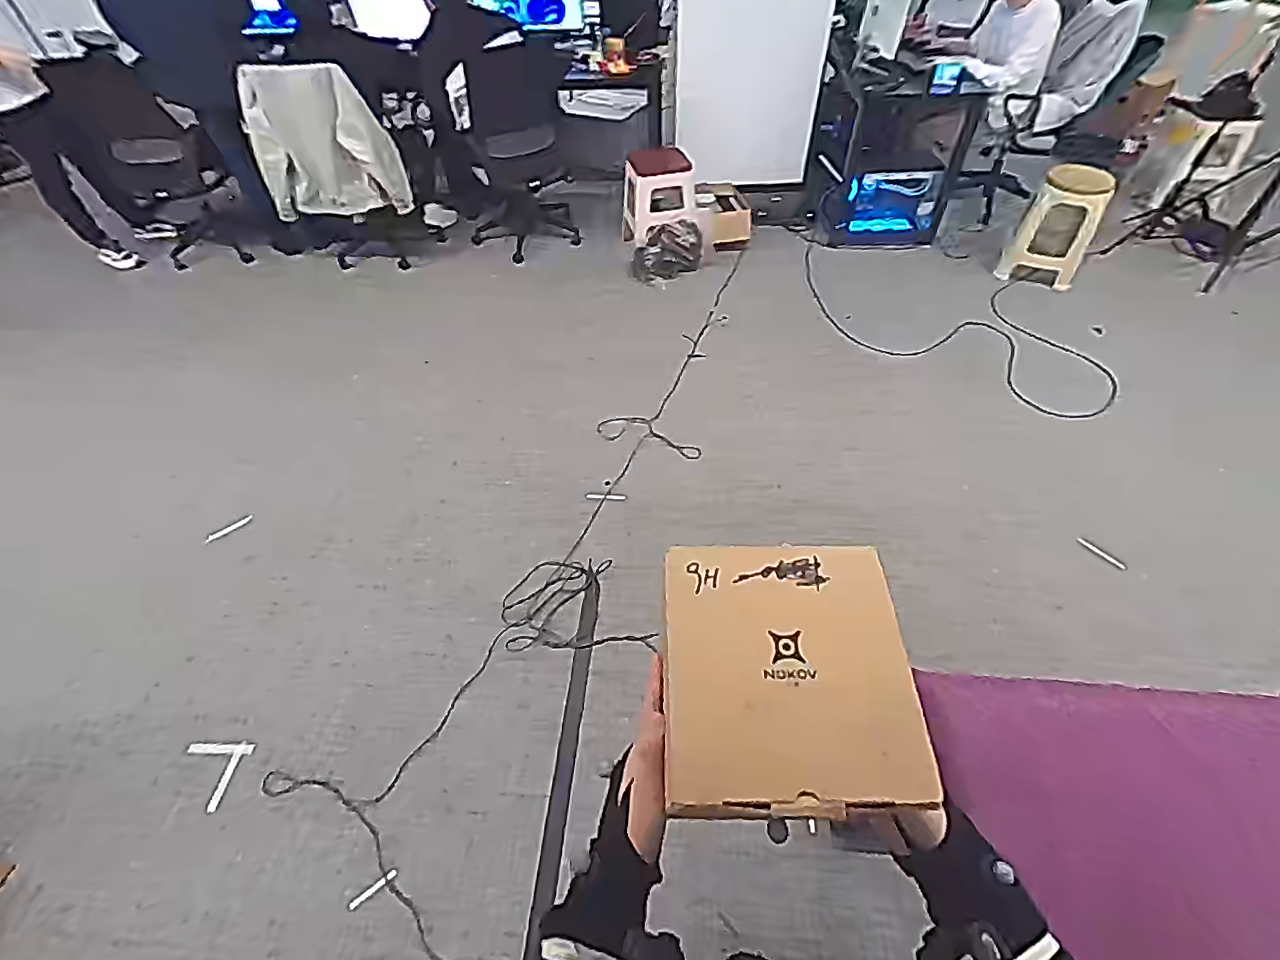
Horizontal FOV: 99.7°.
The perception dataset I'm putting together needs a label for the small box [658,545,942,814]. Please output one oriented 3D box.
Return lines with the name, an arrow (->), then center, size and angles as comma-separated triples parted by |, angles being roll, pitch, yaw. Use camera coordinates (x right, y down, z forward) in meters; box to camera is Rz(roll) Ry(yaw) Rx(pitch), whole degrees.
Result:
small box -> 0.101, 0.166, 0.435 | 0.168, 0.176, 0.179 | 0, 57, -1
